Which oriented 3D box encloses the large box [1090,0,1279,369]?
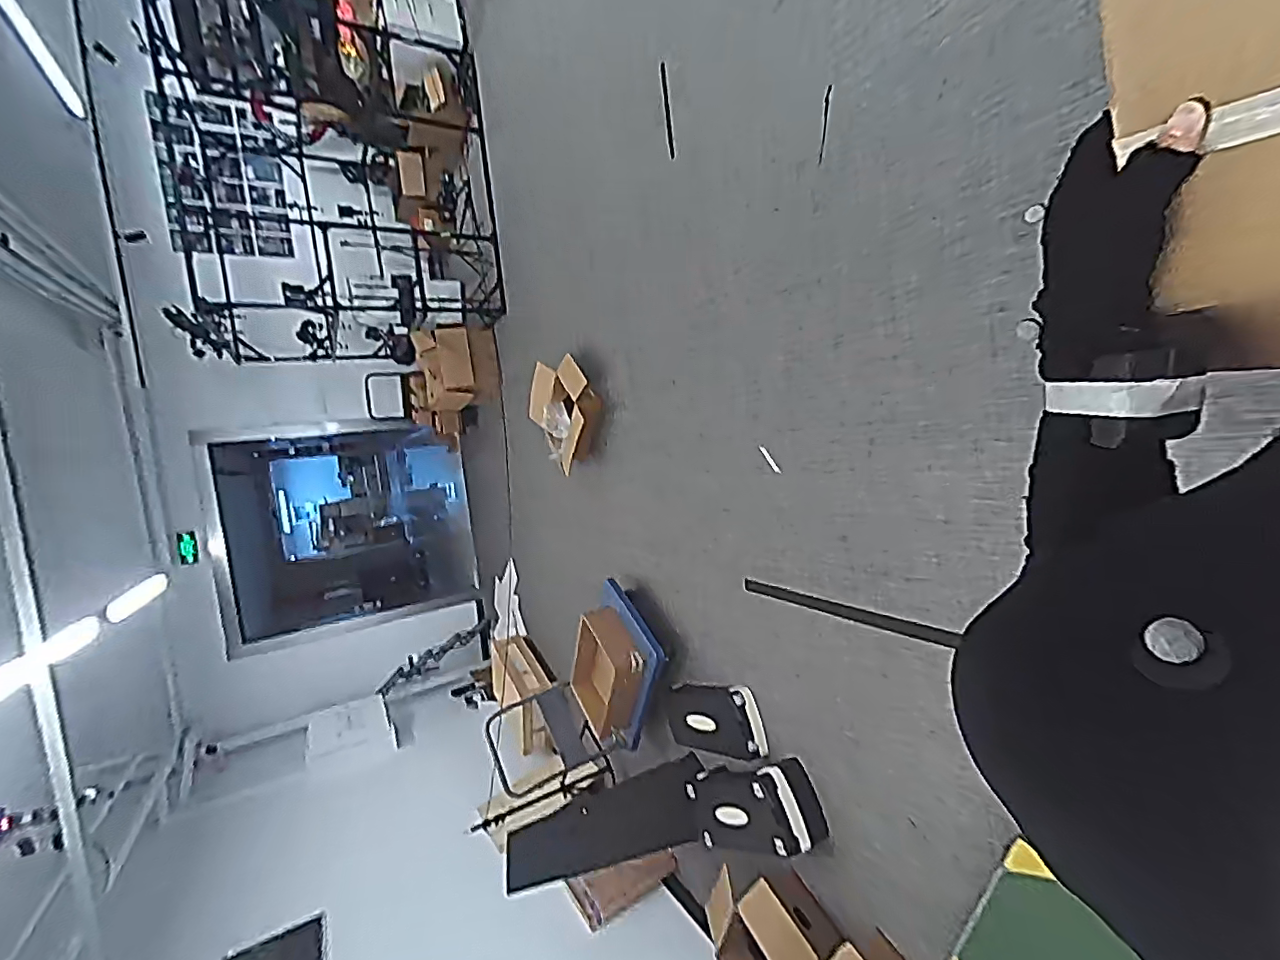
[{"bbox_3d":[0.498,-0.278,0.223,0.408,0.320,0.320,9,139,55],"label":"large box"}]
